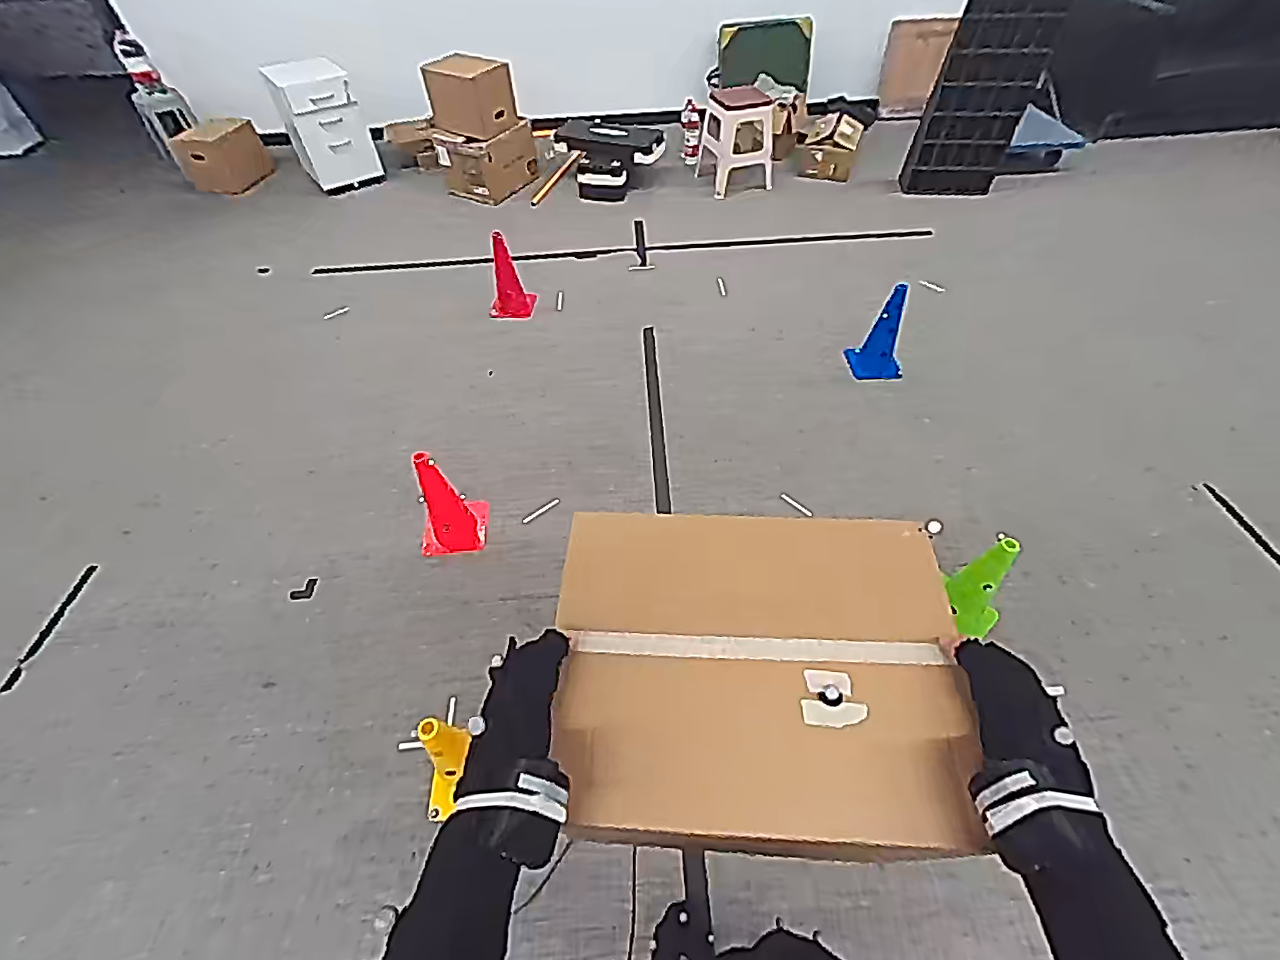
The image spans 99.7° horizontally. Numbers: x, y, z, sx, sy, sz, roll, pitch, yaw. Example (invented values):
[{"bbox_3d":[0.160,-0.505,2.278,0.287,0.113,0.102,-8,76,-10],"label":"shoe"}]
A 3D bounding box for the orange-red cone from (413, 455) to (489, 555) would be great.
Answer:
[{"bbox_3d":[-0.613,0.053,1.660,0.198,0.360,0.199,-6,52,-1],"label":"orange-red cone"}]

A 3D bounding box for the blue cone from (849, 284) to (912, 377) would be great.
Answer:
[{"bbox_3d":[0.982,-0.599,2.145,0.192,0.380,0.193,-1,50,1],"label":"blue cone"}]

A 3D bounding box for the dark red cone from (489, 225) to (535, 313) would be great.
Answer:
[{"bbox_3d":[-0.615,-0.962,2.472,0.201,0.394,0.202,1,51,2],"label":"dark red cone"}]

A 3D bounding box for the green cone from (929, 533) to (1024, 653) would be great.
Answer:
[{"bbox_3d":[0.891,0.260,1.413,0.202,0.368,0.200,-34,57,-25],"label":"green cone"}]

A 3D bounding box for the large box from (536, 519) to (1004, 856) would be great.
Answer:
[{"bbox_3d":[0.115,0.260,0.663,0.408,0.320,0.320,1,54,3],"label":"large box"}]
